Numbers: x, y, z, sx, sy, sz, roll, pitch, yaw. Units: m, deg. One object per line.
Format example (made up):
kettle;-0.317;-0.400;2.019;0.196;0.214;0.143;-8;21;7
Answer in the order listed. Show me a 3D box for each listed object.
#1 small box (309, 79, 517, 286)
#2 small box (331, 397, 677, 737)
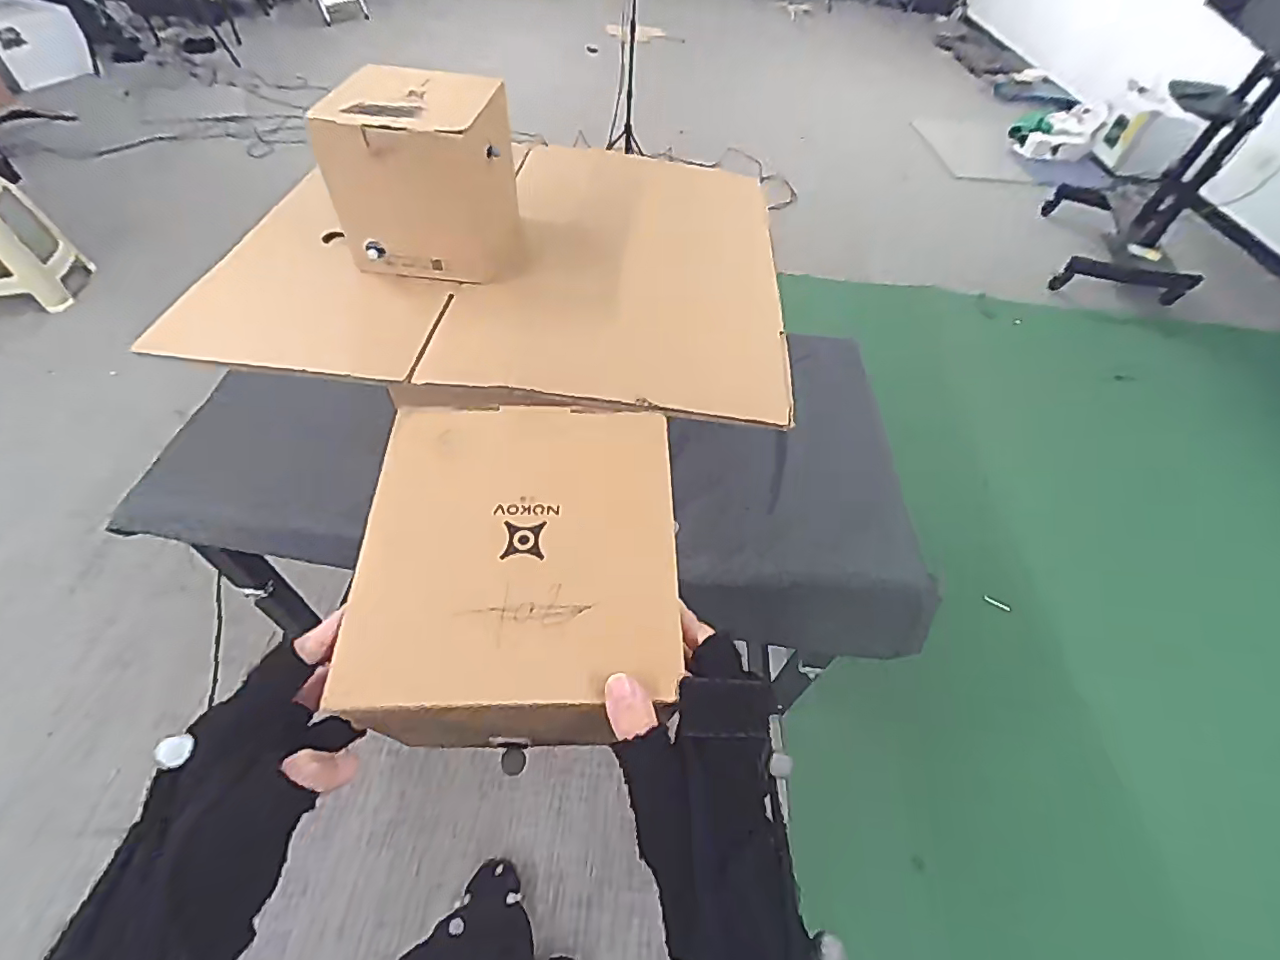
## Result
small box;-0.255;-0.360;0.662;0.168;0.176;0.179;6;51;0
small box;-0.070;0.067;0.366;0.168;0.176;0.179;1;58;-4
